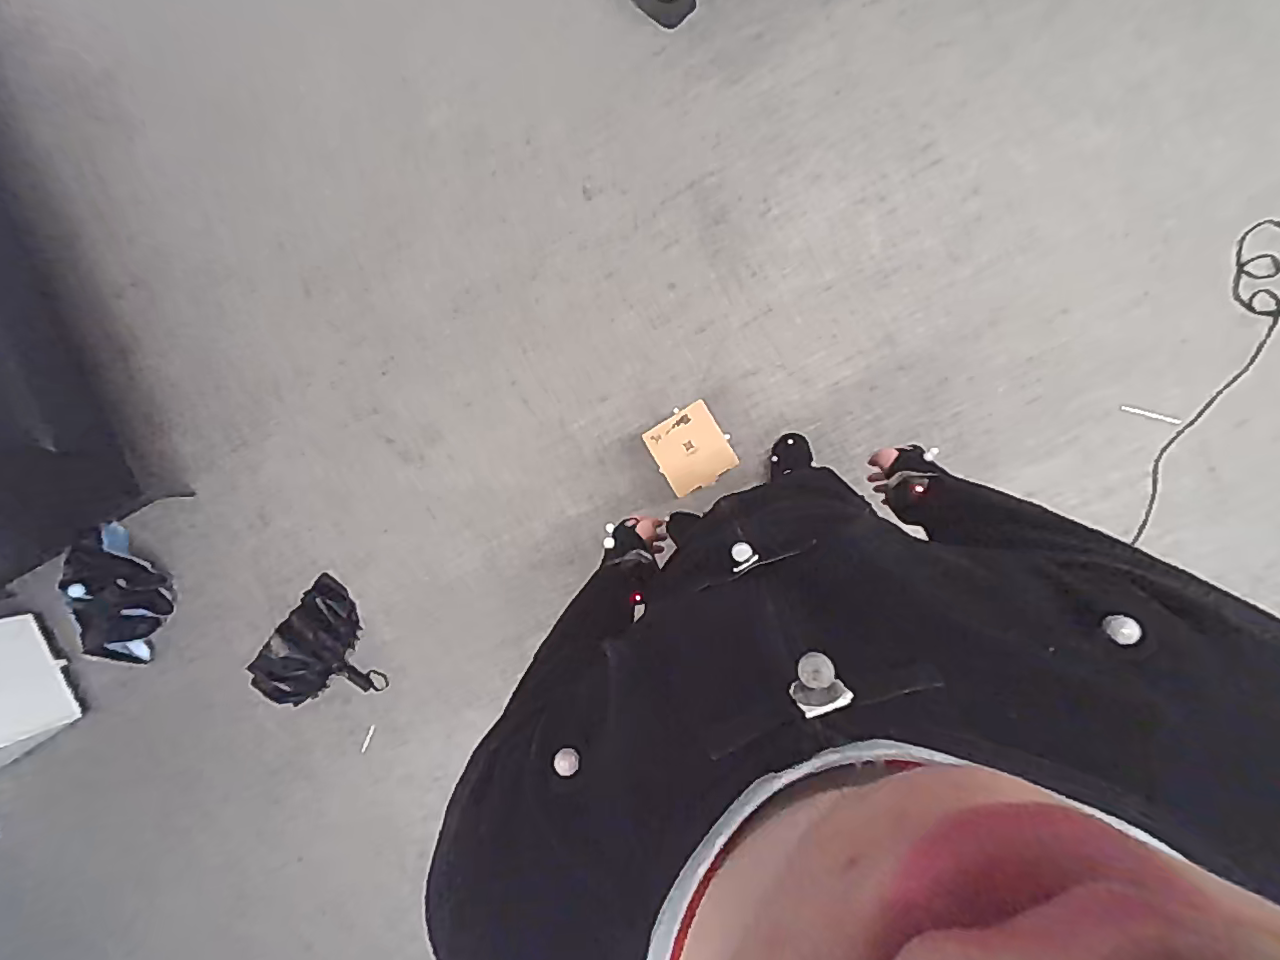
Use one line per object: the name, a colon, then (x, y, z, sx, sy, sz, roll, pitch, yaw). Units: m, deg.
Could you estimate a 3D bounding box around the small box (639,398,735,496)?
small box: (0.120, -0.081, 1.330, 0.168, 0.176, 0.179, -32, 88, 8)
